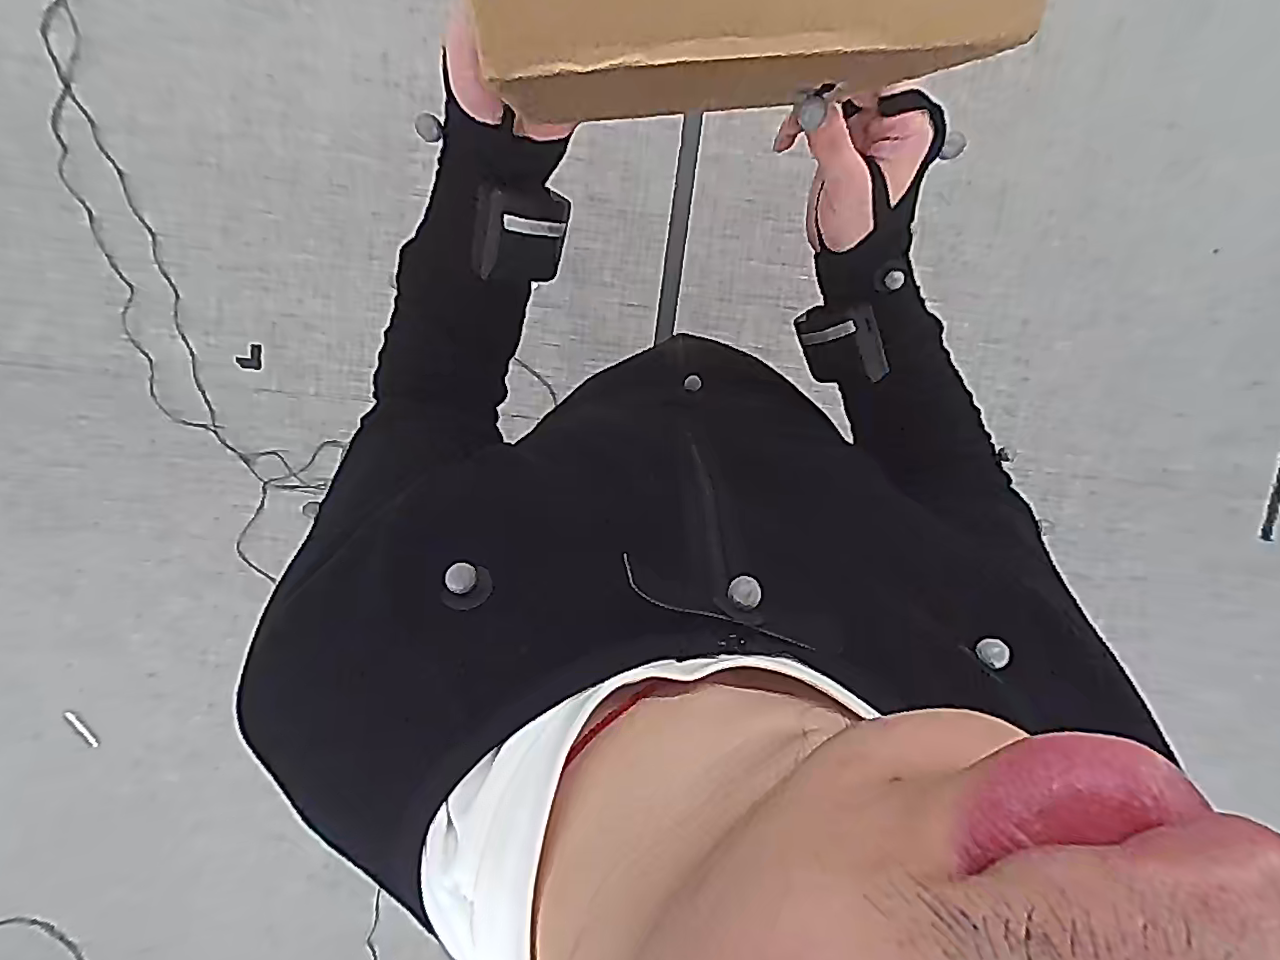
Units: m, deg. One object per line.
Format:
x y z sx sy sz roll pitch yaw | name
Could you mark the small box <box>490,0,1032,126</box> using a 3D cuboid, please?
0.028 -0.244 0.206 0.179 0.176 0.168 -7 119 -2 | small box
